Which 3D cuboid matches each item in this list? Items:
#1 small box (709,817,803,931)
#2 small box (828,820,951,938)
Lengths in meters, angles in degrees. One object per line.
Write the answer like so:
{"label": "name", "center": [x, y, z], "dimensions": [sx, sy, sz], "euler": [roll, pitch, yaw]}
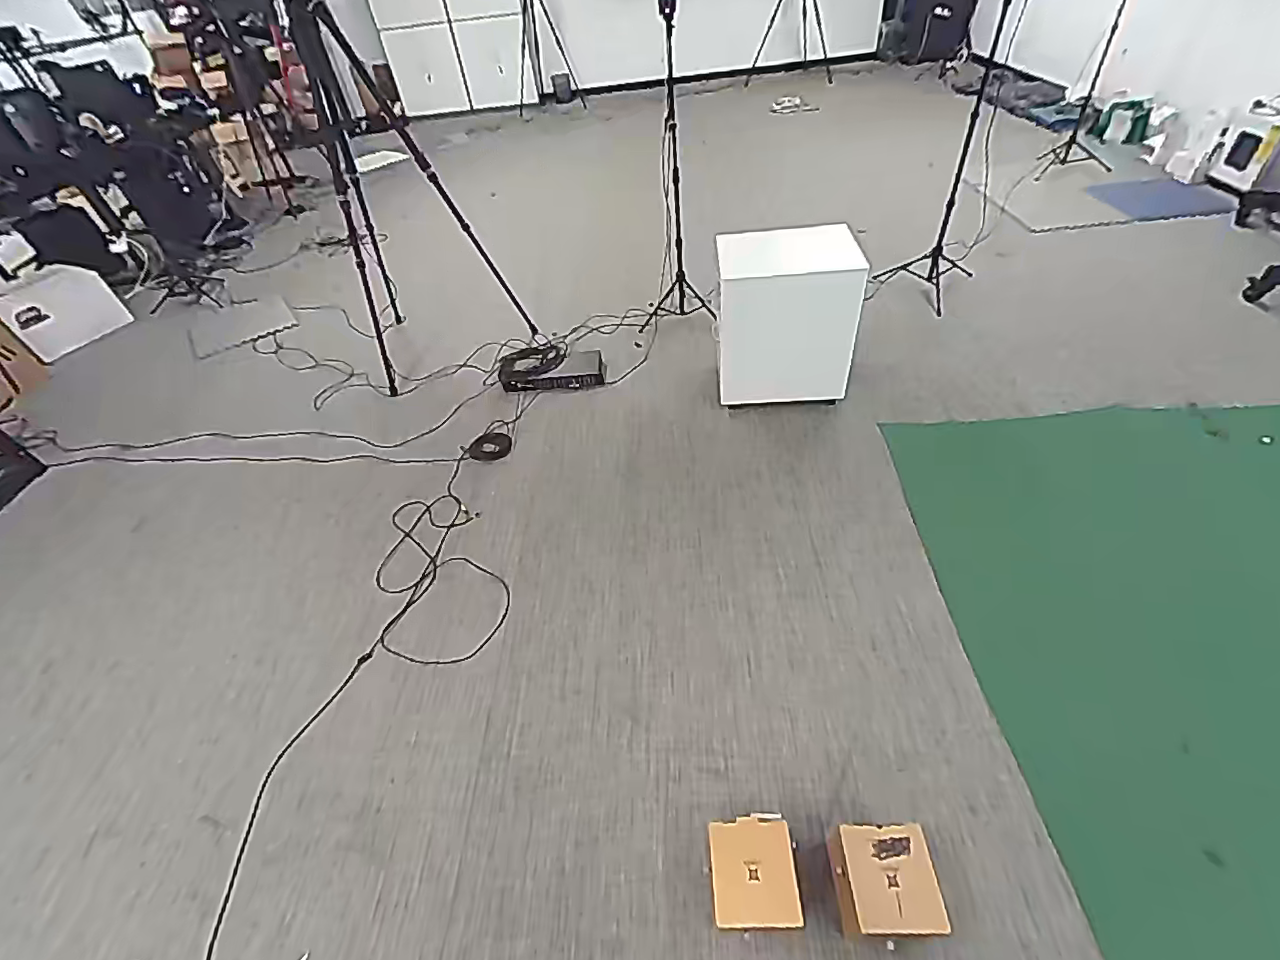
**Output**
{"label": "small box", "center": [0.234, 0.826, 1.131], "dimensions": [0.168, 0.176, 0.179], "euler": [-4, 45, 4]}
{"label": "small box", "center": [0.496, 0.815, 1.106], "dimensions": [0.168, 0.176, 0.179], "euler": [-3, 47, 4]}
